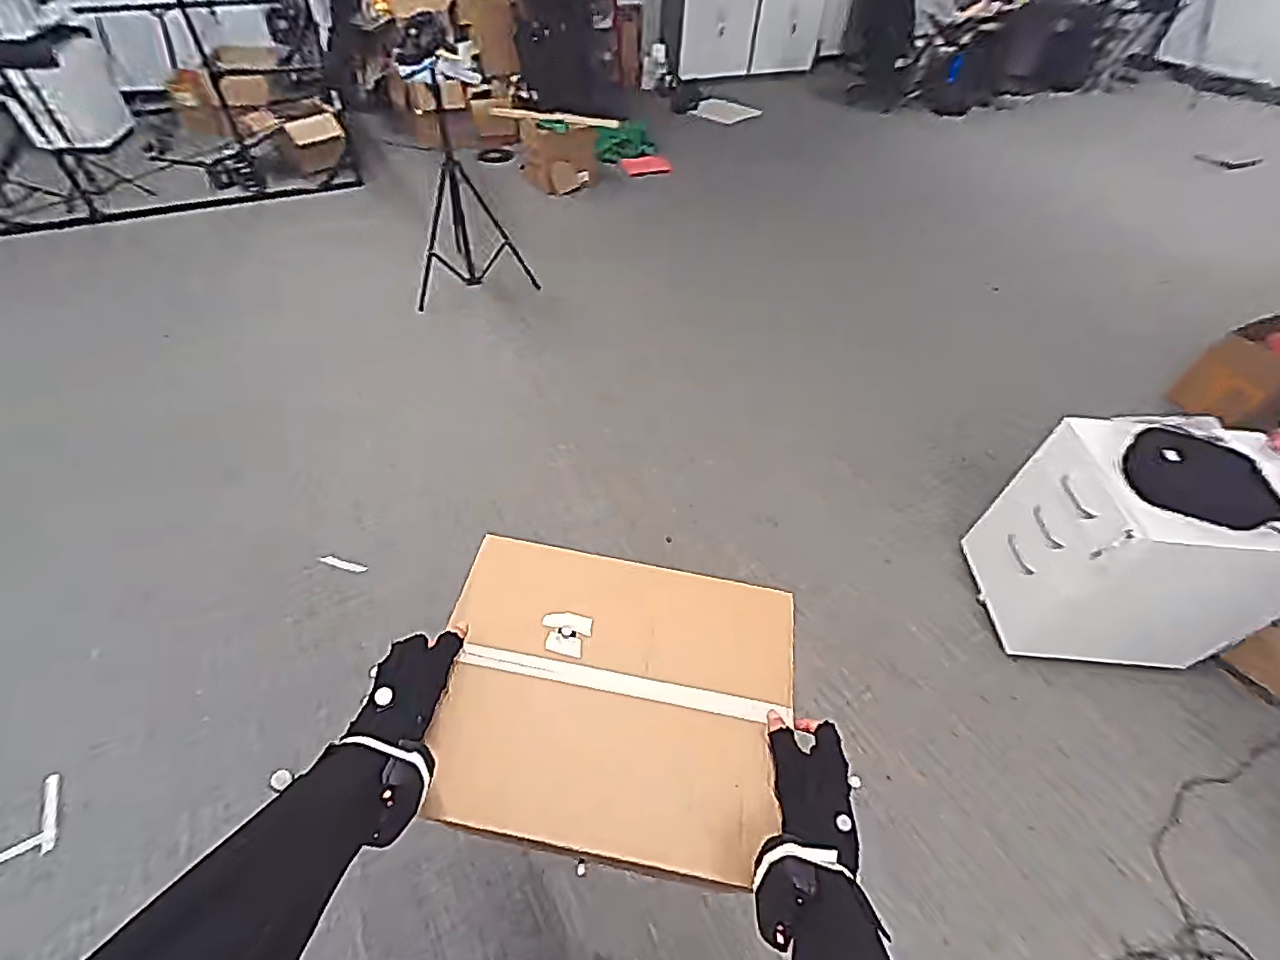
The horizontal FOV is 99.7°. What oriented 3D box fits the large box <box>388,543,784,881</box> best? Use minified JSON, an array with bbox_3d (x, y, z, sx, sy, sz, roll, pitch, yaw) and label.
[{"bbox_3d":[-0.041,0.322,0.737,0.408,0.320,0.320,10,53,3],"label":"large box"}]
